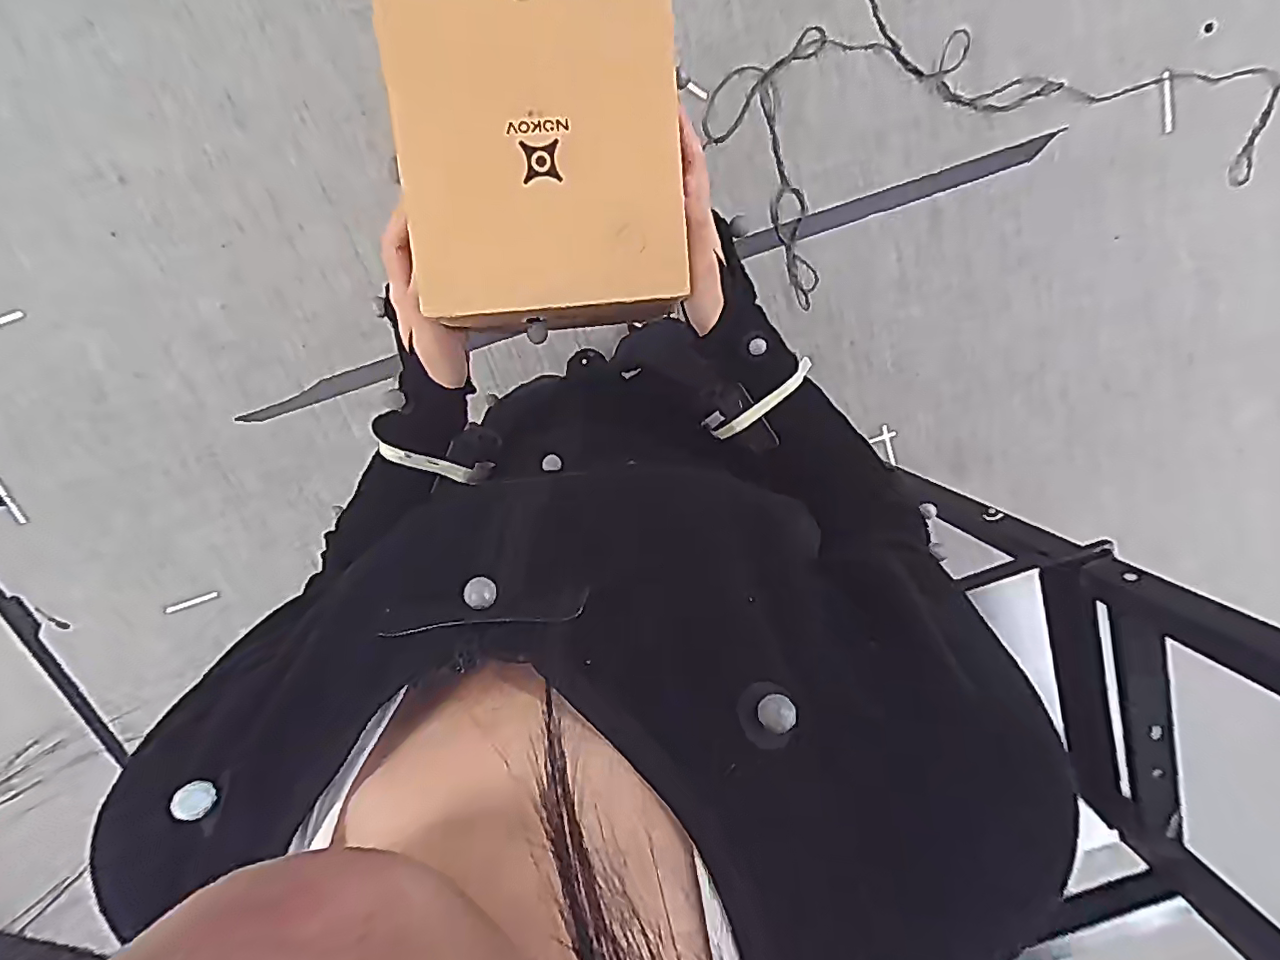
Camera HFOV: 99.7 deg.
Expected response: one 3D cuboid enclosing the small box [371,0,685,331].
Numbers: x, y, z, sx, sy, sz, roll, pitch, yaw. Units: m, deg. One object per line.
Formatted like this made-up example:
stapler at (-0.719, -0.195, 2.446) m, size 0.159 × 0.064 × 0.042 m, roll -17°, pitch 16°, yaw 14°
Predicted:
small box at (-0.063, -0.205, 0.391) m, size 0.168 × 0.176 × 0.179 m, roll -6°, pitch 101°, yaw -3°
